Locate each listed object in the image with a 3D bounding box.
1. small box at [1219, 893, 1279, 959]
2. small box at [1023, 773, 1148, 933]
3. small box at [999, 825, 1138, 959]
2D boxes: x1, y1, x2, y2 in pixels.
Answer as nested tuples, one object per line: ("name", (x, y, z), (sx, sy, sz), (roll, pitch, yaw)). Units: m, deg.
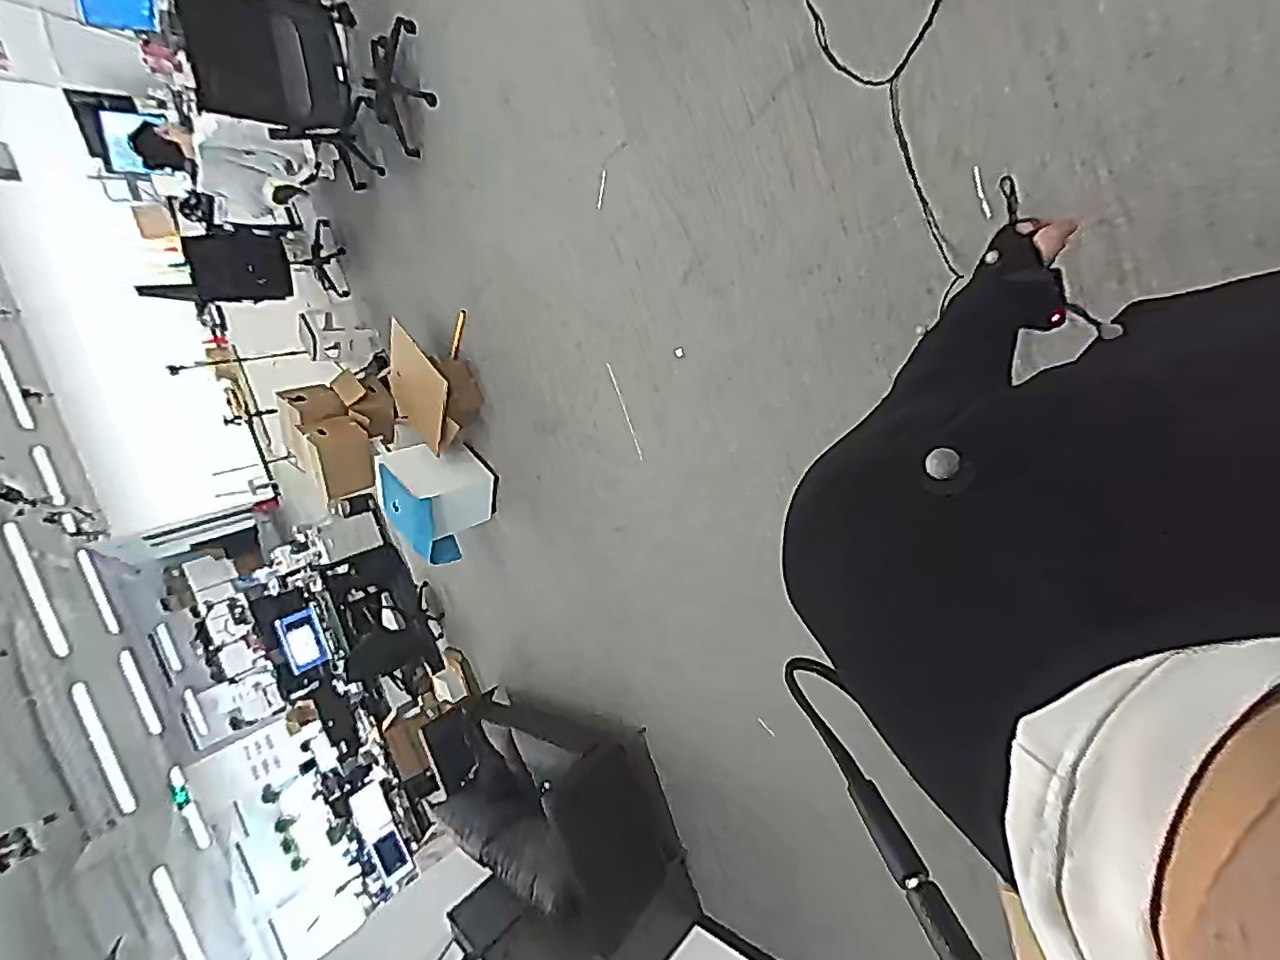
("small box", (0.964, 0.764, 0.783), (0.168, 0.176, 0.179), (-4, 103, 50))
("small box", (0.906, 0.739, 1.098), (0.168, 0.176, 0.179), (-6, 102, 49))
("small box", (0.788, 0.788, 0.994), (0.168, 0.176, 0.179), (-7, 102, 50))
